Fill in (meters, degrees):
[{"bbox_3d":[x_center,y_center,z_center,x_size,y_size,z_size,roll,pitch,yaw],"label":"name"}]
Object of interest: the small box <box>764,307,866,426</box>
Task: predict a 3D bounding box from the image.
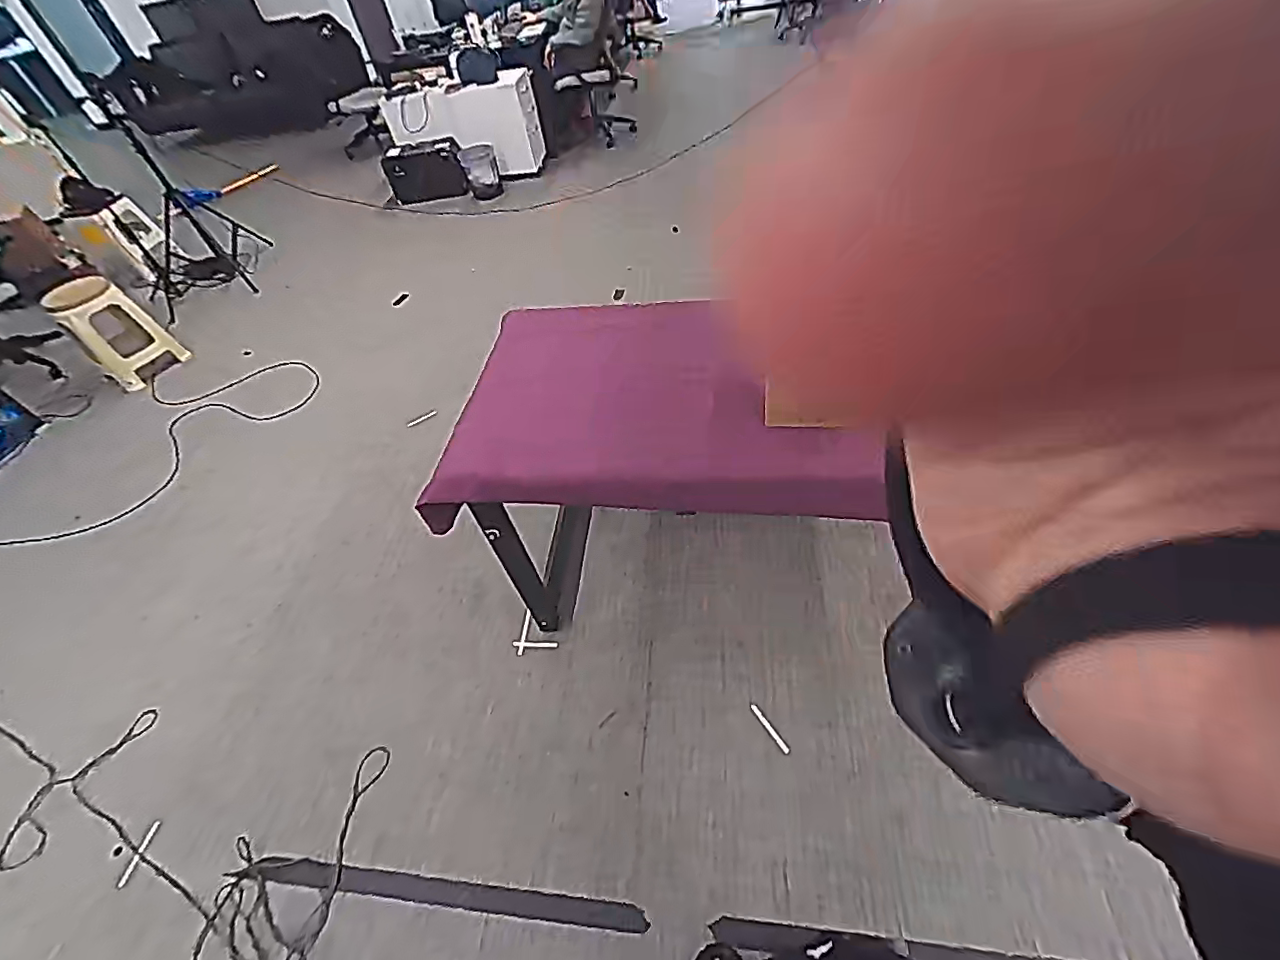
[{"bbox_3d":[0.330,-0.219,1.046,0.168,0.176,0.179,2,49,11],"label":"small box"}]
